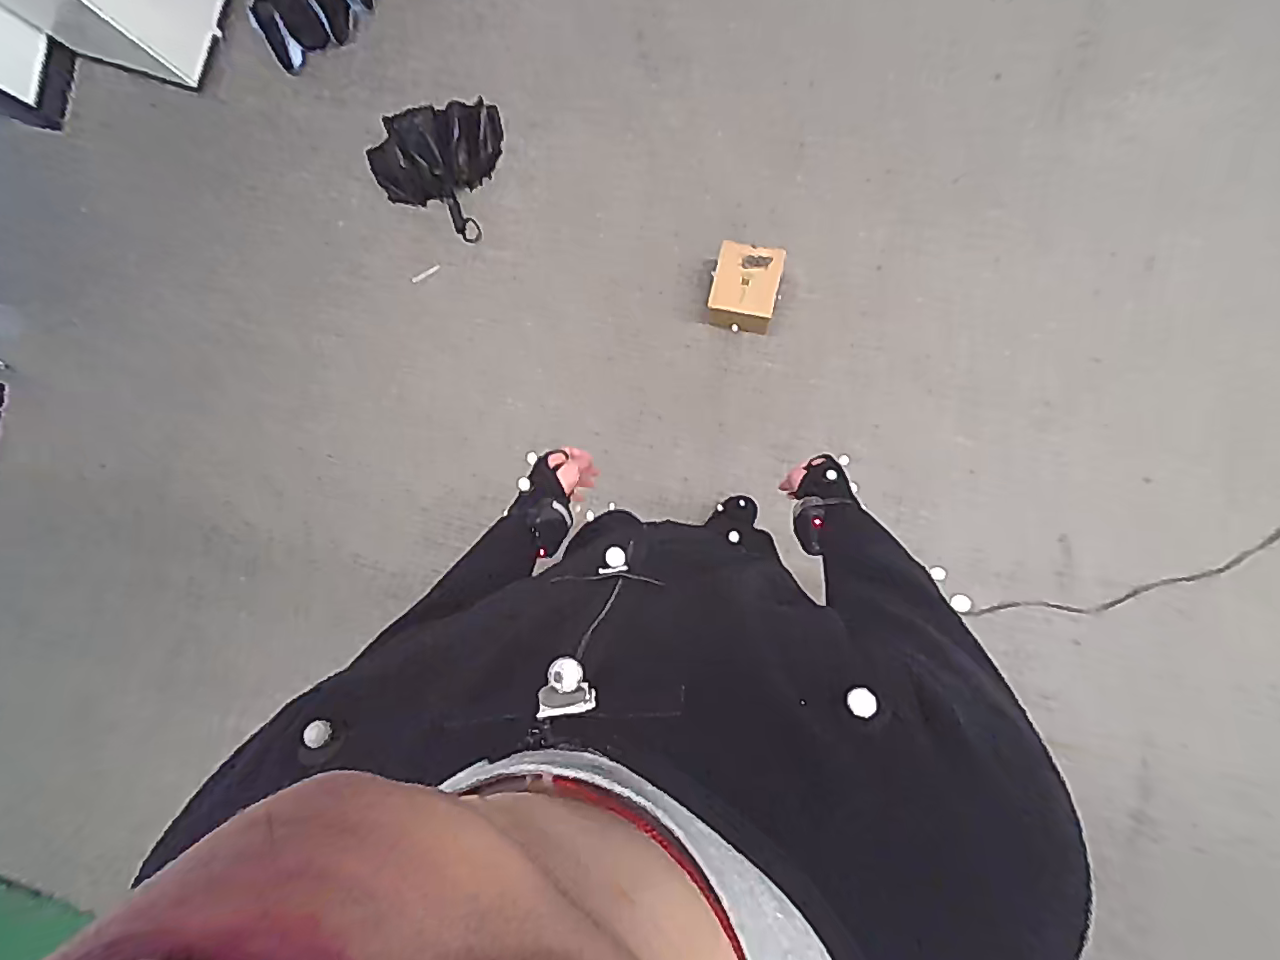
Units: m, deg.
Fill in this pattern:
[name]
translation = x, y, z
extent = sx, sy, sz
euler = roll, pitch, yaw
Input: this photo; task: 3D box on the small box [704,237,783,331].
[small box]
translation = 0.271, -0.517, 1.442
extent = 0.168, 0.176, 0.179
euler = 13, 94, 9
